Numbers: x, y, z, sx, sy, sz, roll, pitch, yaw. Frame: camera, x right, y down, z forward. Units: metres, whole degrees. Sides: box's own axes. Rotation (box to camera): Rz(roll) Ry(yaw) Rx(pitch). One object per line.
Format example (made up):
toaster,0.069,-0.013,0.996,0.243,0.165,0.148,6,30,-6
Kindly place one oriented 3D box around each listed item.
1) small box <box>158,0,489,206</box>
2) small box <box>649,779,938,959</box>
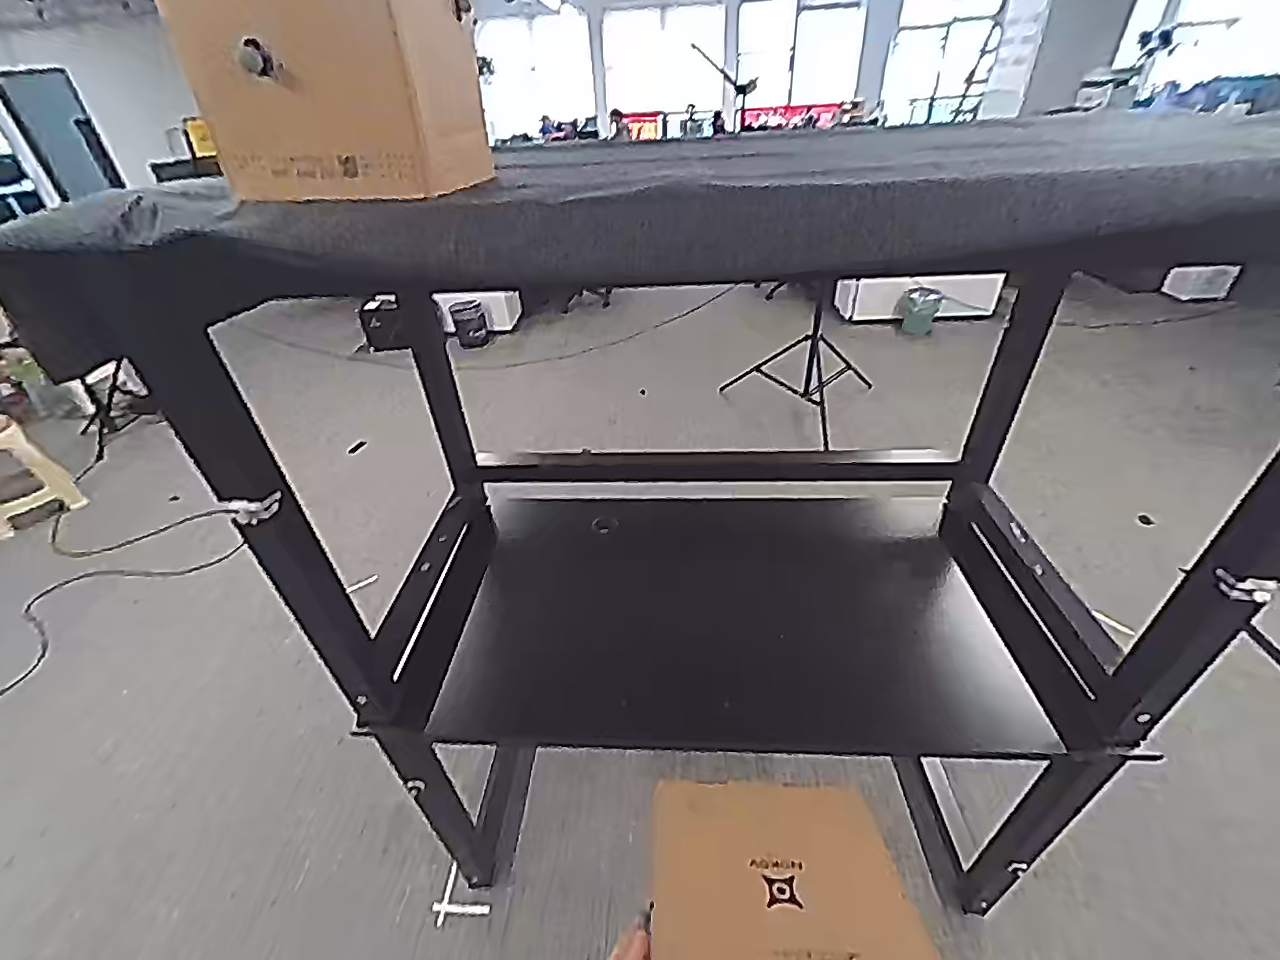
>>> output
small box,-0.239,-0.331,0.454,0.168,0.176,0.179,1,33,4
small box,0.089,0.344,0.370,0.168,0.176,0.179,1,14,1
